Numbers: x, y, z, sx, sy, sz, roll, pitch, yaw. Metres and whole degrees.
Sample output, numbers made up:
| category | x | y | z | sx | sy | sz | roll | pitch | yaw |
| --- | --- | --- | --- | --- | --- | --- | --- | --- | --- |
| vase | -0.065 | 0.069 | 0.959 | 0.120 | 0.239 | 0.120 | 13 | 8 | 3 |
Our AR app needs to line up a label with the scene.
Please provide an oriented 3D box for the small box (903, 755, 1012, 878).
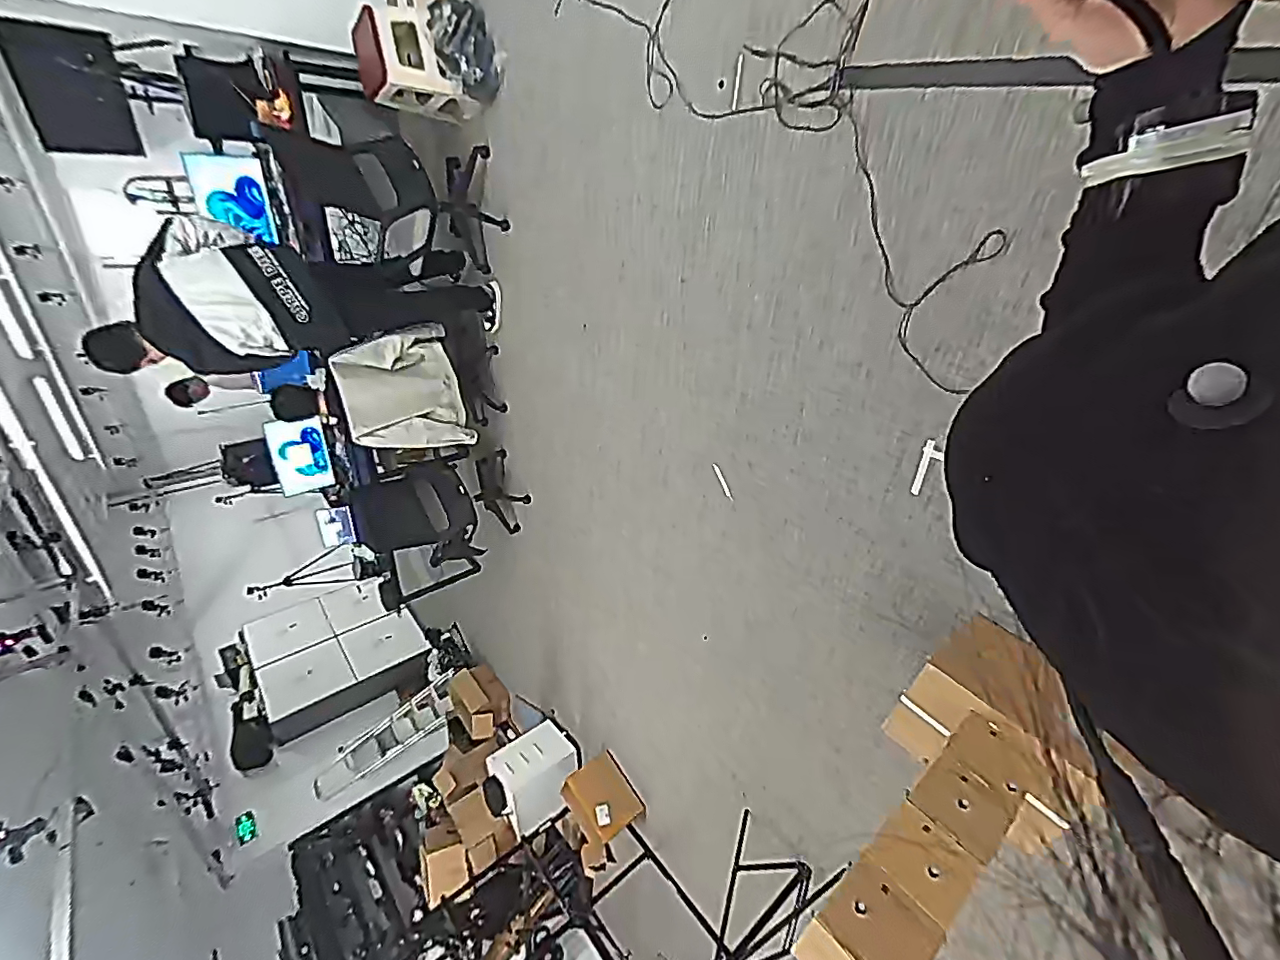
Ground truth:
| category | x | y | z | sx | sy | sz | roll | pitch | yaw |
| --- | --- | --- | --- | --- | --- | --- | --- | --- | --- |
| small box | 0.663 | 0.739 | 1.166 | 0.168 | 0.176 | 0.179 | 38 | 134 | 36 |

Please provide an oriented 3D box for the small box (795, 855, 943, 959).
| category | x | y | z | sx | sy | sz | roll | pitch | yaw |
| --- | --- | --- | --- | --- | --- | --- | --- | --- | --- |
| small box | 0.415 | 0.834 | 0.979 | 0.168 | 0.176 | 0.179 | 36 | 135 | 38 |

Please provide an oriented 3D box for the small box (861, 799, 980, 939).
| category | x | y | z | sx | sy | sz | roll | pitch | yaw |
| --- | --- | --- | --- | --- | --- | --- | --- | --- | --- |
| small box | 0.538 | 0.782 | 1.071 | 0.168 | 0.176 | 0.179 | 36 | 133 | 37 |
